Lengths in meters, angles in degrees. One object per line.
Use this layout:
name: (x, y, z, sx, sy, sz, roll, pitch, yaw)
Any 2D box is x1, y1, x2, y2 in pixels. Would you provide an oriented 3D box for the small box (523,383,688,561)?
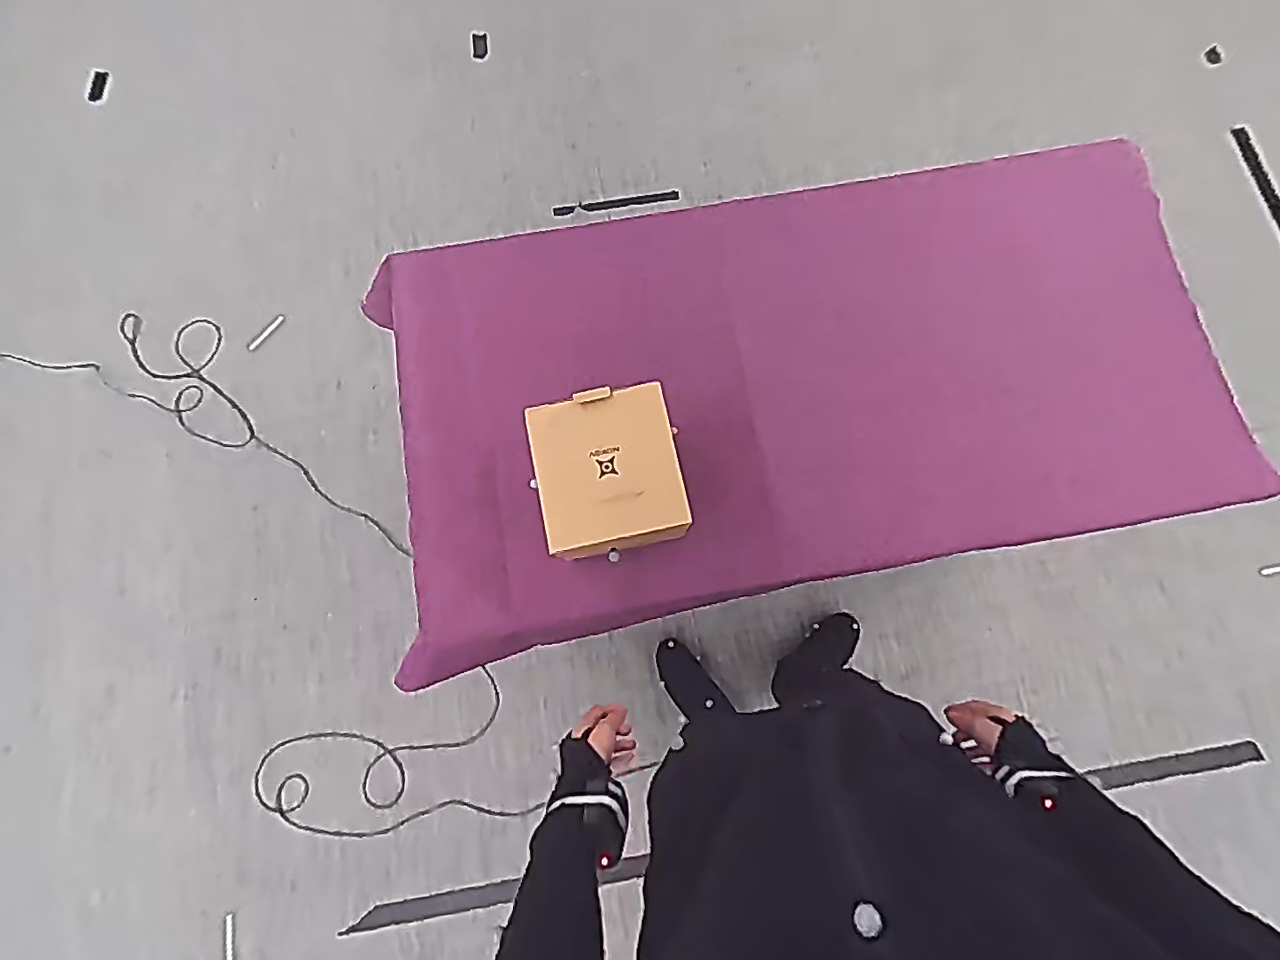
small box: (-0.041, 0.000, 0.690, 0.168, 0.176, 0.179, -12, 79, -1)
